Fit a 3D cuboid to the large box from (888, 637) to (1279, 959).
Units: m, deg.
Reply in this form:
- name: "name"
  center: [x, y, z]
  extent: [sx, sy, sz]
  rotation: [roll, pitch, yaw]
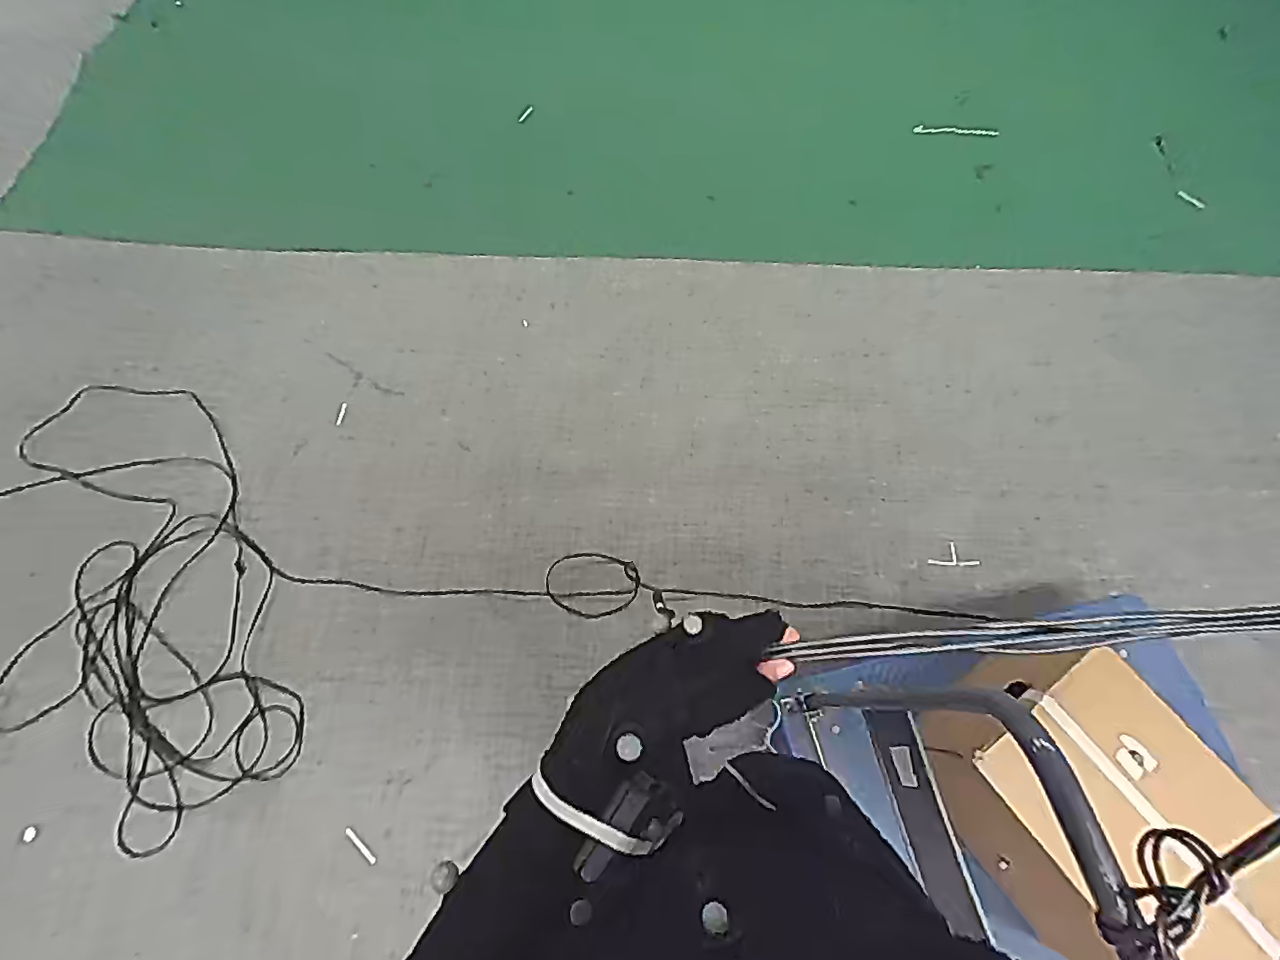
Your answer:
- name: "large box"
  center: [0.740, 0.545, 0.949]
  extent: [0.320, 0.320, 0.408]
  rotation: [-32, 71, -12]
